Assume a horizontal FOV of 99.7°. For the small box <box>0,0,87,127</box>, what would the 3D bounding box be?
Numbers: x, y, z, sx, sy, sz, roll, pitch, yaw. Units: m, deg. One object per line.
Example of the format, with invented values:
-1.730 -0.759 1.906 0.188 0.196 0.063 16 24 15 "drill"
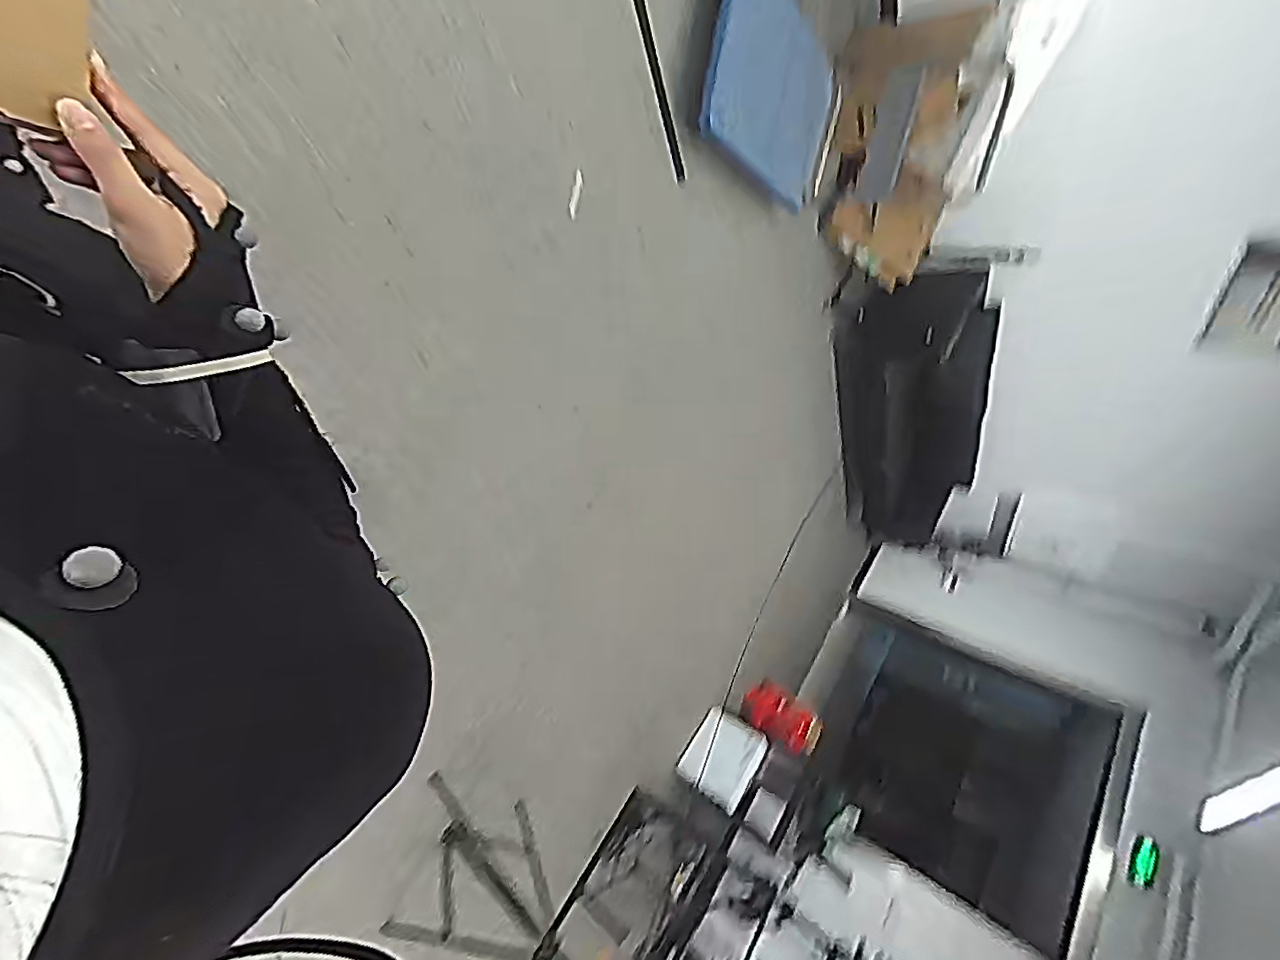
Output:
-0.388 -0.300 0.258 0.168 0.176 0.179 -2 115 -48 "small box"
